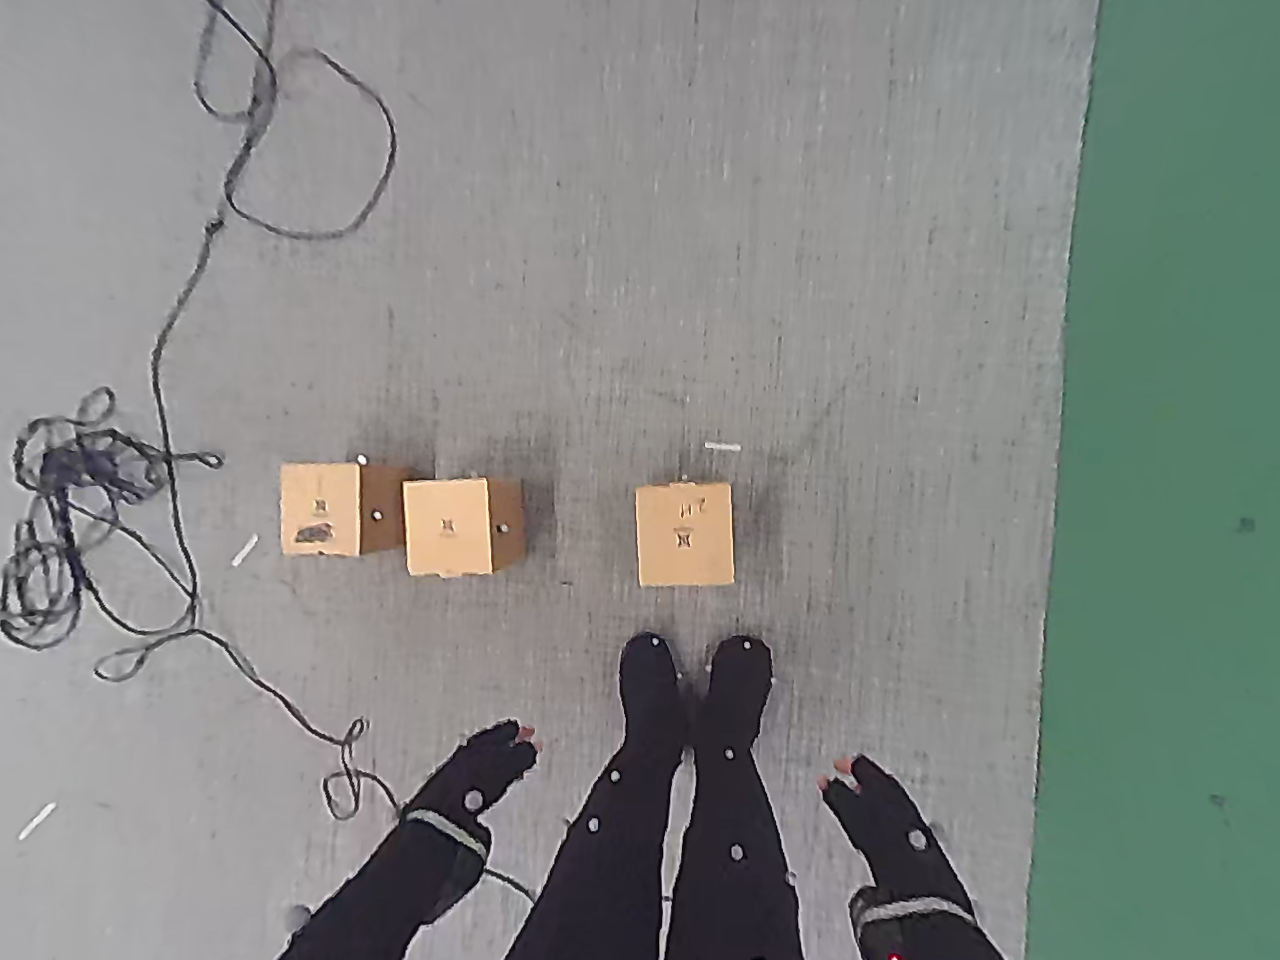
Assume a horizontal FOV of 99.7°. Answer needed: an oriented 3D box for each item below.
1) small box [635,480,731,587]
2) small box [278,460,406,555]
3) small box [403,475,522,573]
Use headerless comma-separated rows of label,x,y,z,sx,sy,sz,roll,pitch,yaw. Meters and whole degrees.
small box,0.084,0.092,1.001,0.168,0.176,0.179,-2,92,6
small box,-0.591,0.049,1.089,0.168,0.176,0.179,1,91,8
small box,-0.339,0.080,1.058,0.168,0.176,0.179,-2,92,8
